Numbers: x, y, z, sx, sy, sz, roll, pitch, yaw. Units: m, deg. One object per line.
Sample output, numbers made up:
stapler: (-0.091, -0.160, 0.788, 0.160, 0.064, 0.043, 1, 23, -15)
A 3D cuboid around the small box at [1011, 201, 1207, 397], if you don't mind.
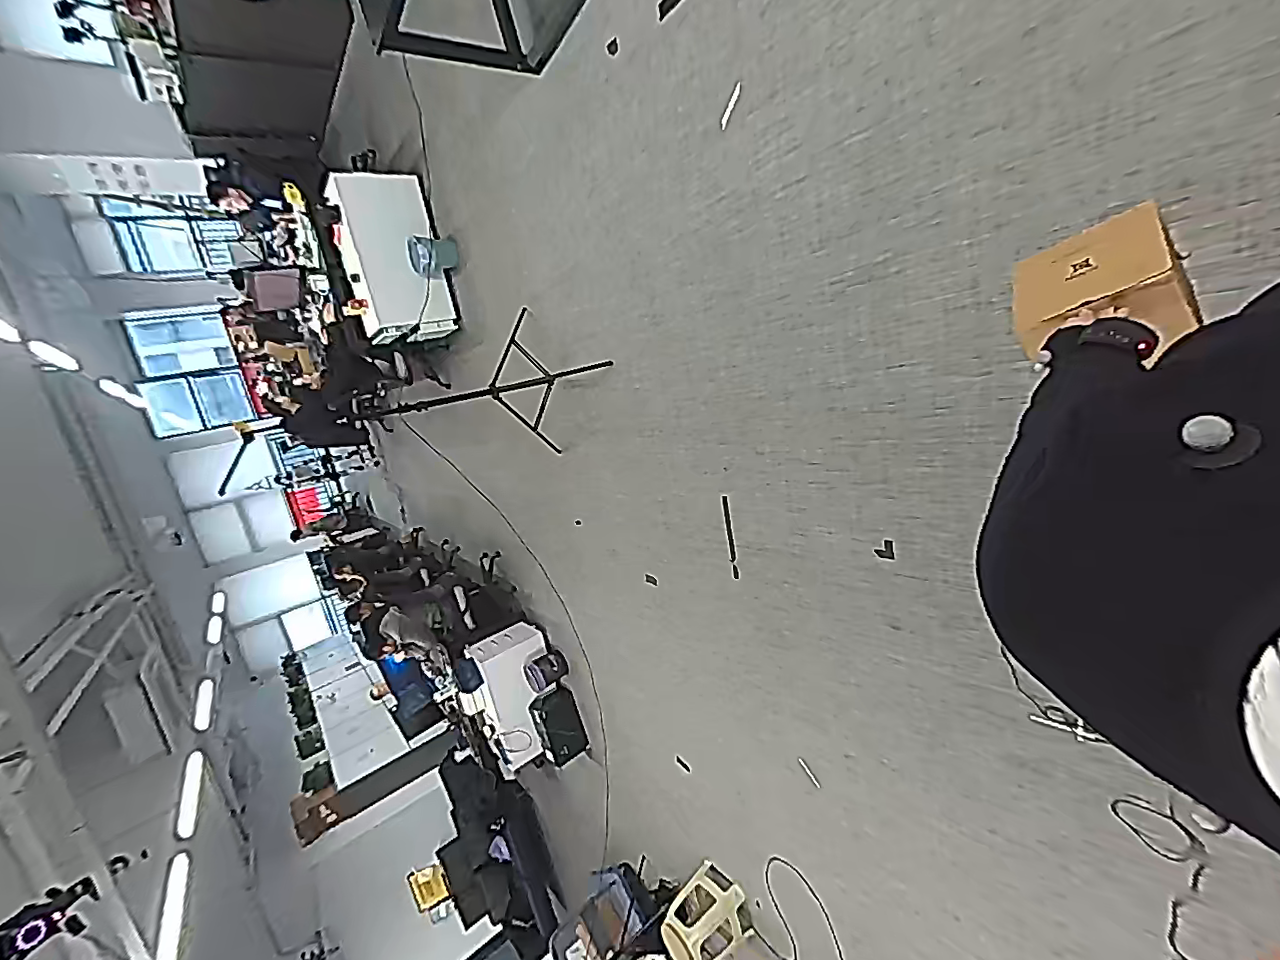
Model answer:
small box: (0.653, -0.239, 0.763, 0.176, 0.179, 0.168, 42, 144, -23)
